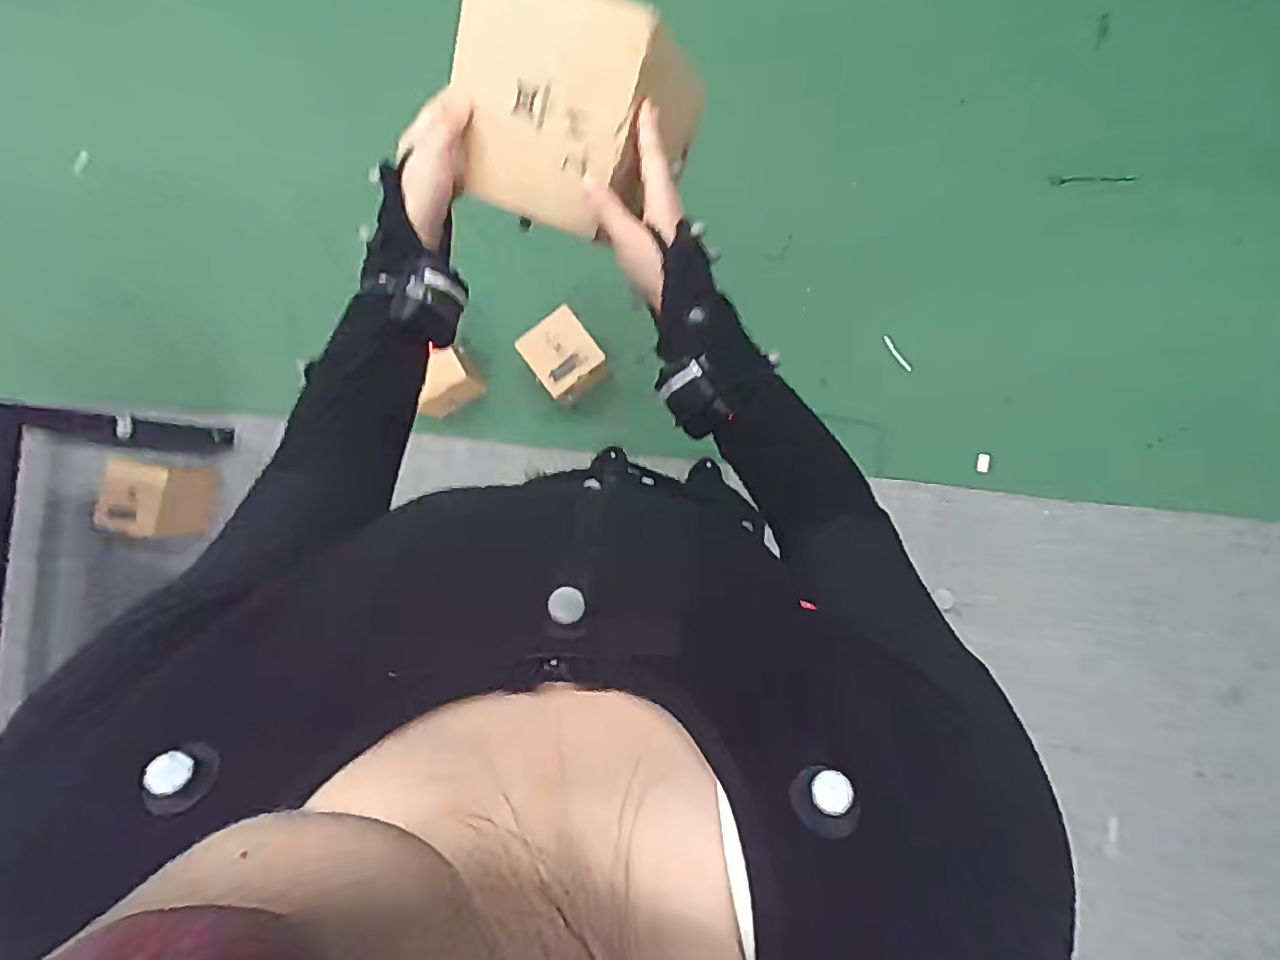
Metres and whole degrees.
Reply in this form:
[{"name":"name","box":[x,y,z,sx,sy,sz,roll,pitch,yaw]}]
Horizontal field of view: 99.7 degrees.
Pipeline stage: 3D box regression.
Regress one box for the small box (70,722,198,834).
[{"name":"small box","box":[-1.342,0.789,1.448,0.168,0.176,0.179,18,91,2]}]

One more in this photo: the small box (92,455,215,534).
[{"name":"small box","box":[-1.293,0.039,1.450,0.168,0.176,0.179,11,89,1]}]

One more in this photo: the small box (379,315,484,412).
[{"name":"small box","box":[-0.544,-0.299,1.430,0.168,0.176,0.179,-30,89,1]}]

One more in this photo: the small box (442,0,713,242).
[{"name":"small box","box":[-0.052,-0.336,0.512,0.179,0.176,0.168,25,116,11]}]
